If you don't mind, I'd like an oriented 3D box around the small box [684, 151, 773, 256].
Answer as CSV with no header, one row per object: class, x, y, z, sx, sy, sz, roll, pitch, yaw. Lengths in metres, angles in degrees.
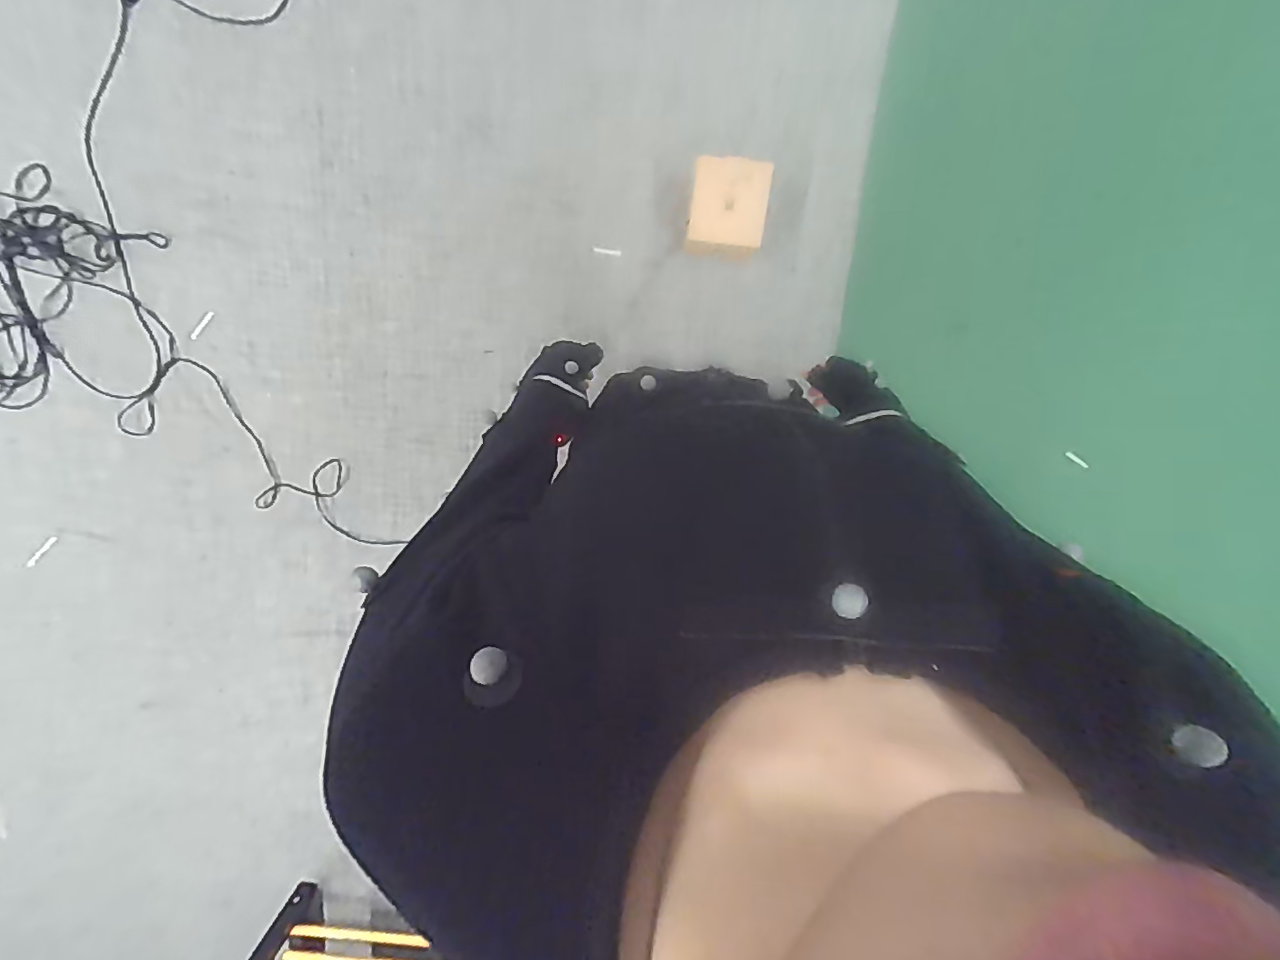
small box,0.195,-0.627,1.248,0.168,0.176,0.179,7,103,-1
